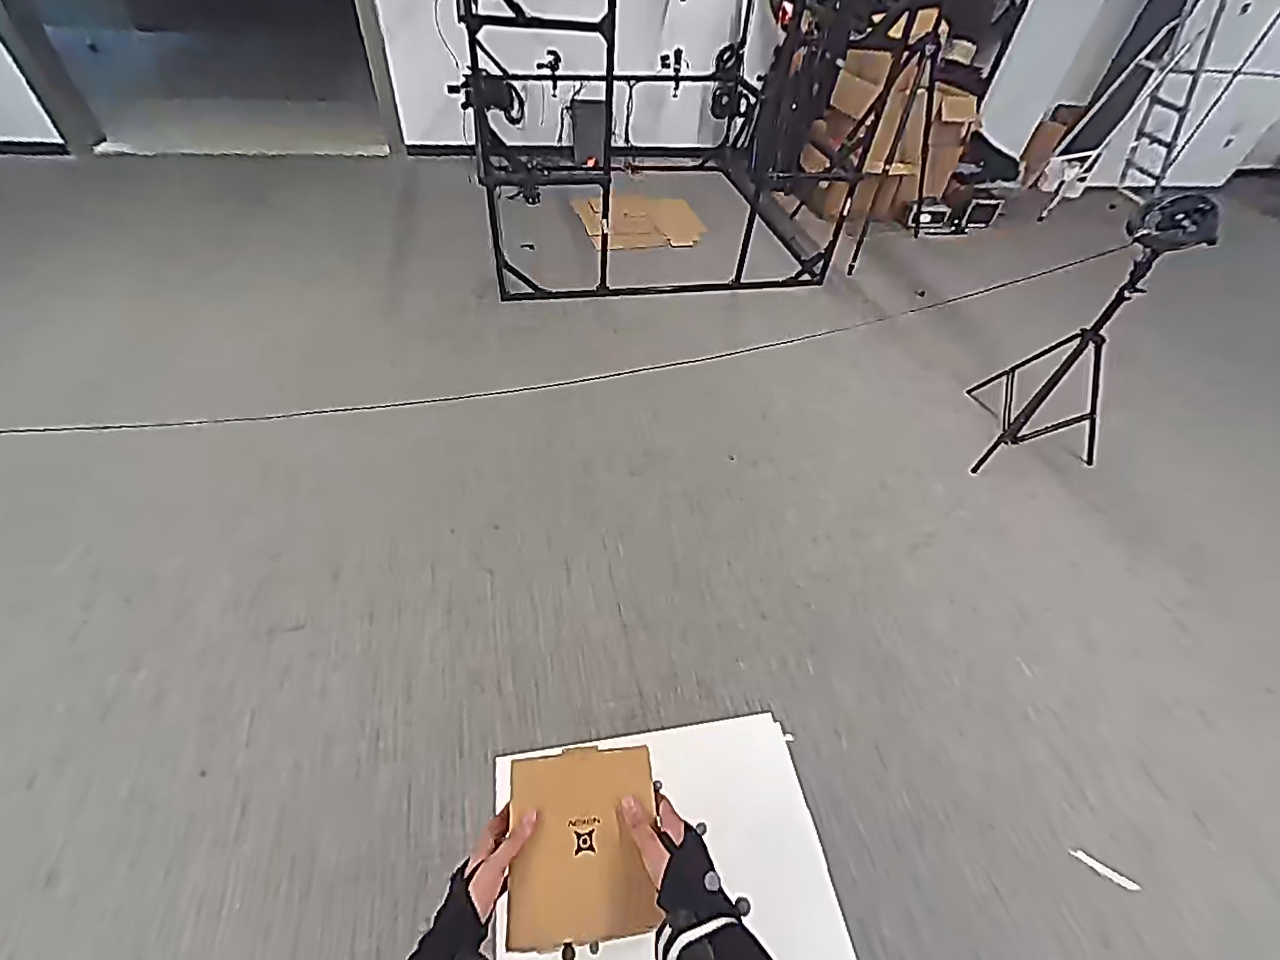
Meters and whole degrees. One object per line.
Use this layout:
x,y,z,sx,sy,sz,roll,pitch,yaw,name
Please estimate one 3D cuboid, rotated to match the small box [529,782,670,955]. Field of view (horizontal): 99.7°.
-0.064,0.555,0.772,0.179,0.176,0.168,-3,48,-10,small box
